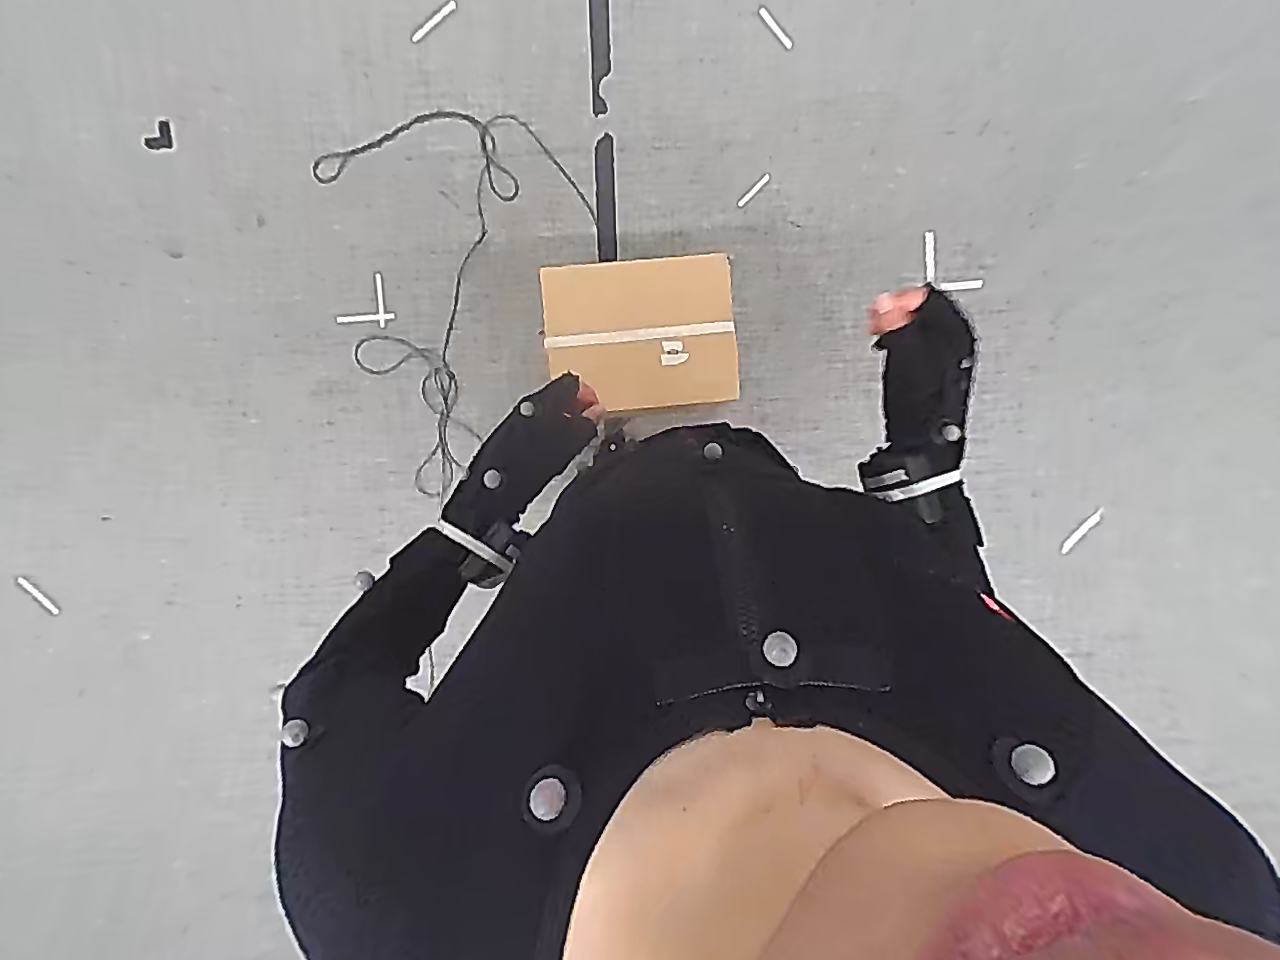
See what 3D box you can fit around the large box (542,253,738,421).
[{"bbox_3d":[-0.003,-0.325,1.314,0.408,0.320,0.320,-5,94,-1],"label":"large box"}]
